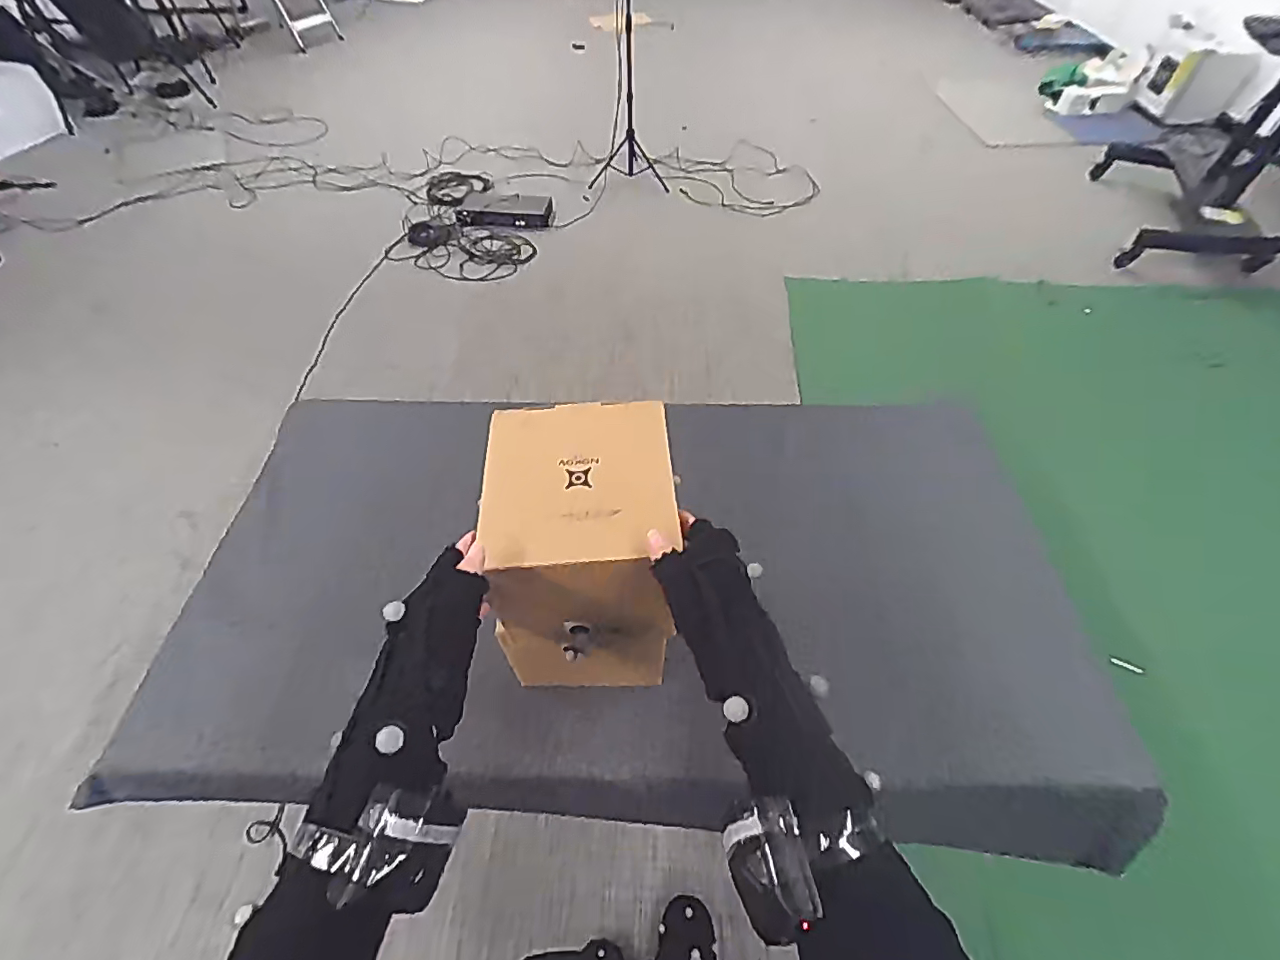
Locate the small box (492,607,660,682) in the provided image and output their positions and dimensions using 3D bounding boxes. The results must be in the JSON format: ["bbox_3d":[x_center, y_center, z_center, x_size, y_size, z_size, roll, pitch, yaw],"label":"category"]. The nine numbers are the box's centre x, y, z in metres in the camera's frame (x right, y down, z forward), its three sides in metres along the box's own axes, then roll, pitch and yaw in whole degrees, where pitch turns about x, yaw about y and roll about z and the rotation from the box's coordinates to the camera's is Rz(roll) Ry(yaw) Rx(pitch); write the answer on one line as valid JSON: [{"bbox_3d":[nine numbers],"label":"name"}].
[{"bbox_3d":[-0.064,0.140,0.665,0.179,0.176,0.168,0,52,0],"label":"small box"}]

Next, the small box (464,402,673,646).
[{"bbox_3d":[-0.059,0.045,0.533,0.168,0.176,0.179,-4,53,-1],"label":"small box"}]
